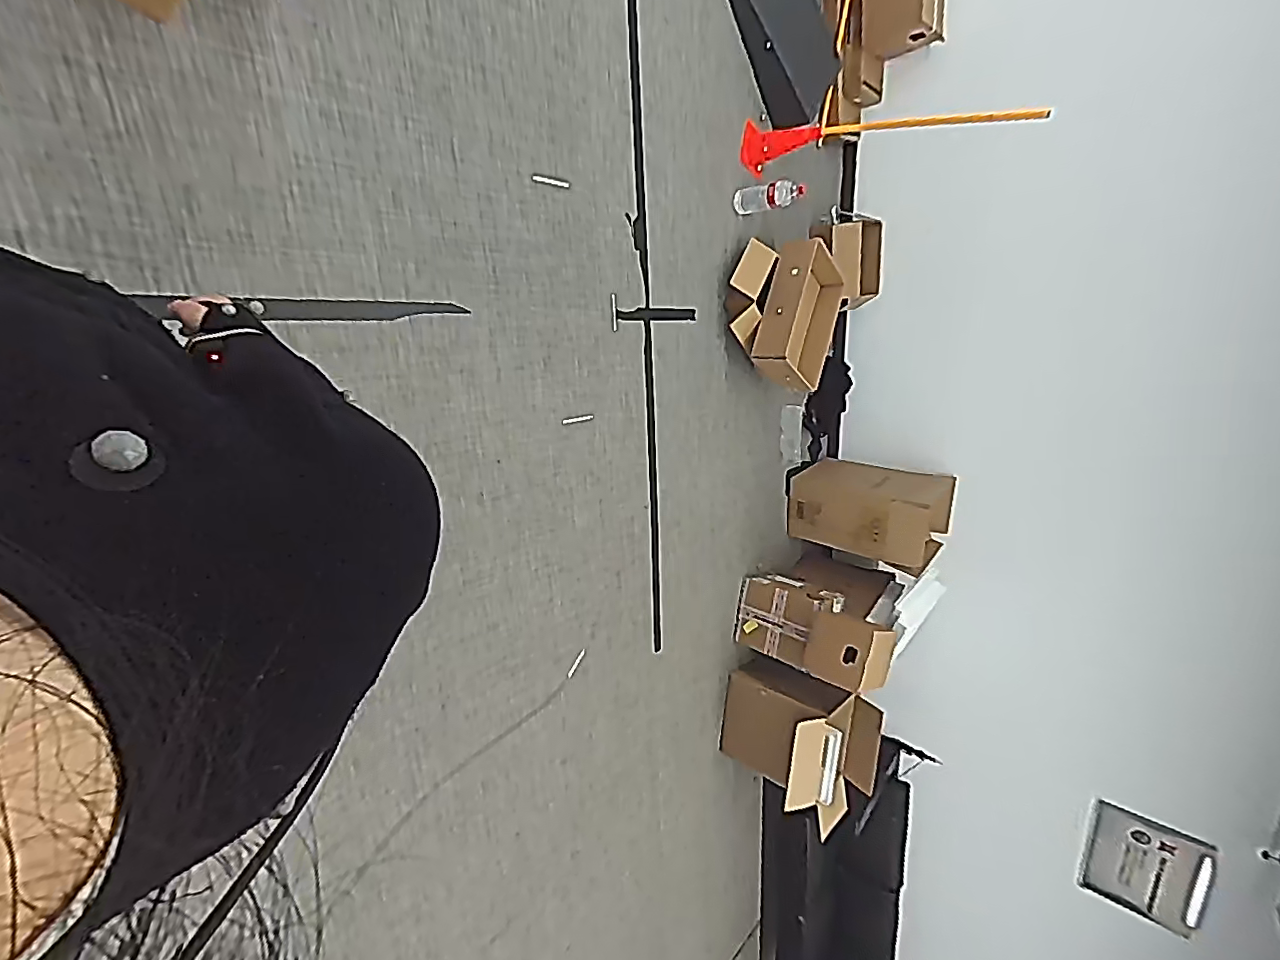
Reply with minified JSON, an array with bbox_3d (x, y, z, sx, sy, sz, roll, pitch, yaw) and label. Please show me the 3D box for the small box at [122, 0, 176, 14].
[{"bbox_3d":[-0.916,-0.972,0.946,0.179,0.176,0.168,6,95,-48],"label":"small box"}]
